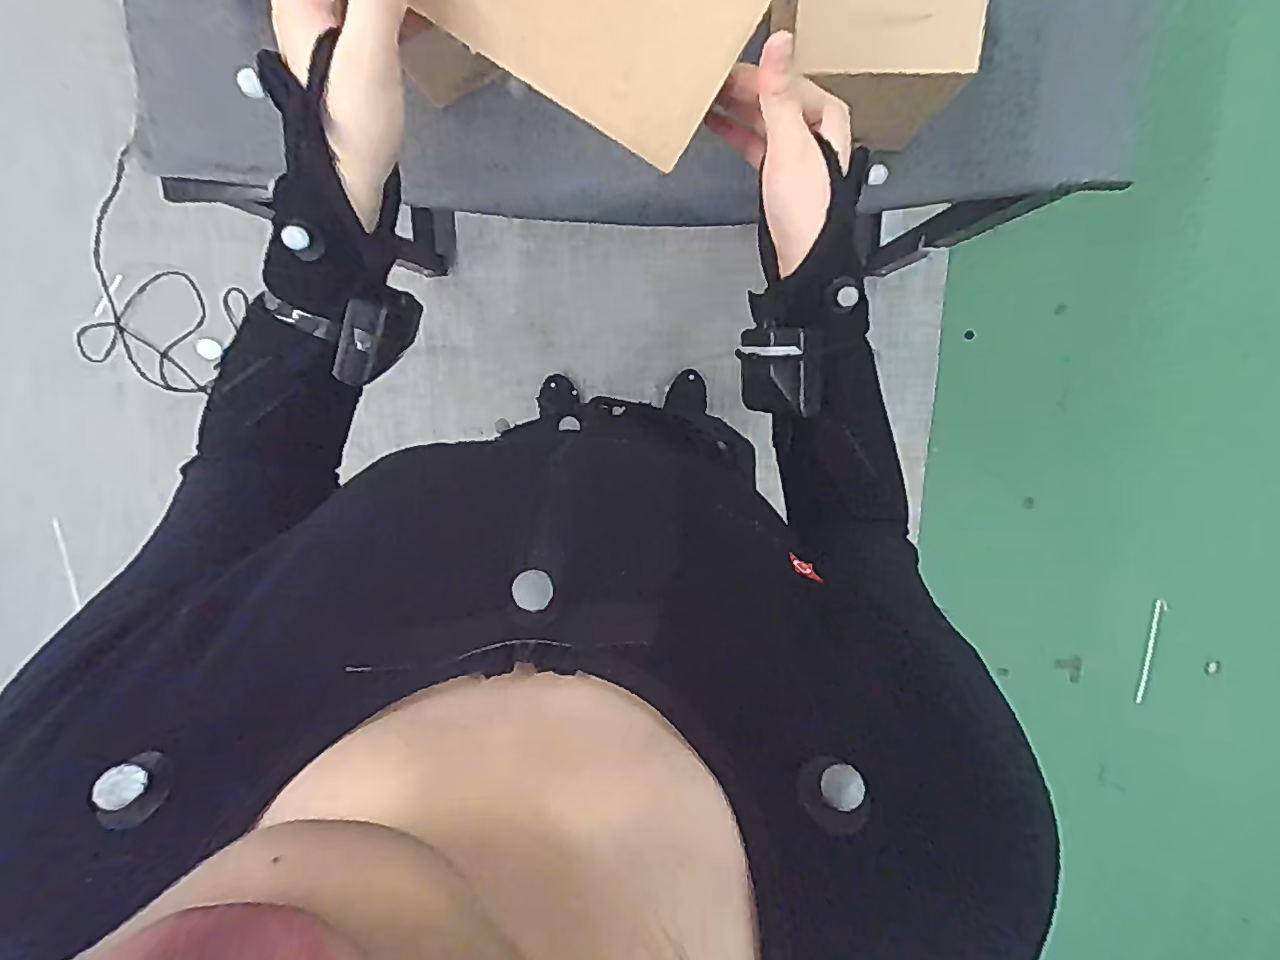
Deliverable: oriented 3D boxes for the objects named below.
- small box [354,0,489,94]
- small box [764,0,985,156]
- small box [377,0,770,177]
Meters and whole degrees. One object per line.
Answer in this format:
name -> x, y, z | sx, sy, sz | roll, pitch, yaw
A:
small box -> -0.210, -0.545, 0.559 | 0.168, 0.176, 0.179 | -24, 99, 7
small box -> 0.226, -0.462, 0.551 | 0.168, 0.176, 0.179 | 3, 101, 4
small box -> -0.027, -0.317, 0.295 | 0.179, 0.176, 0.168 | 17, 134, -29
